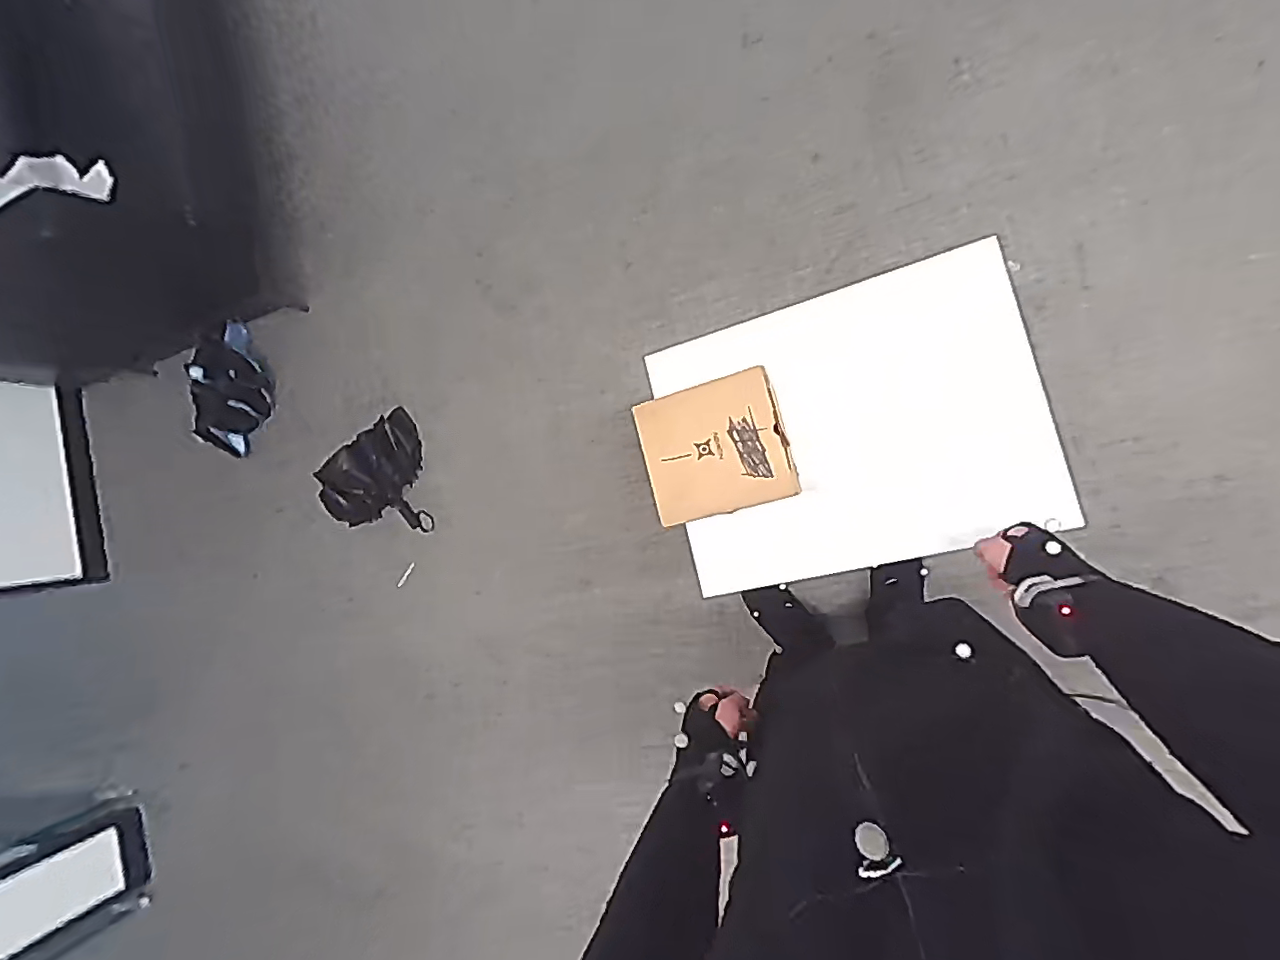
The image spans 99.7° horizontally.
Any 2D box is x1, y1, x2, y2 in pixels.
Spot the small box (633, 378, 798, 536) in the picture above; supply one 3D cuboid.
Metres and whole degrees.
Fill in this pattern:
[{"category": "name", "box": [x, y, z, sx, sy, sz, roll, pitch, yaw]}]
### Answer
[{"category": "small box", "box": [0.113, -0.026, 0.749, 0.179, 0.176, 0.168, -16, 84, 18]}]
